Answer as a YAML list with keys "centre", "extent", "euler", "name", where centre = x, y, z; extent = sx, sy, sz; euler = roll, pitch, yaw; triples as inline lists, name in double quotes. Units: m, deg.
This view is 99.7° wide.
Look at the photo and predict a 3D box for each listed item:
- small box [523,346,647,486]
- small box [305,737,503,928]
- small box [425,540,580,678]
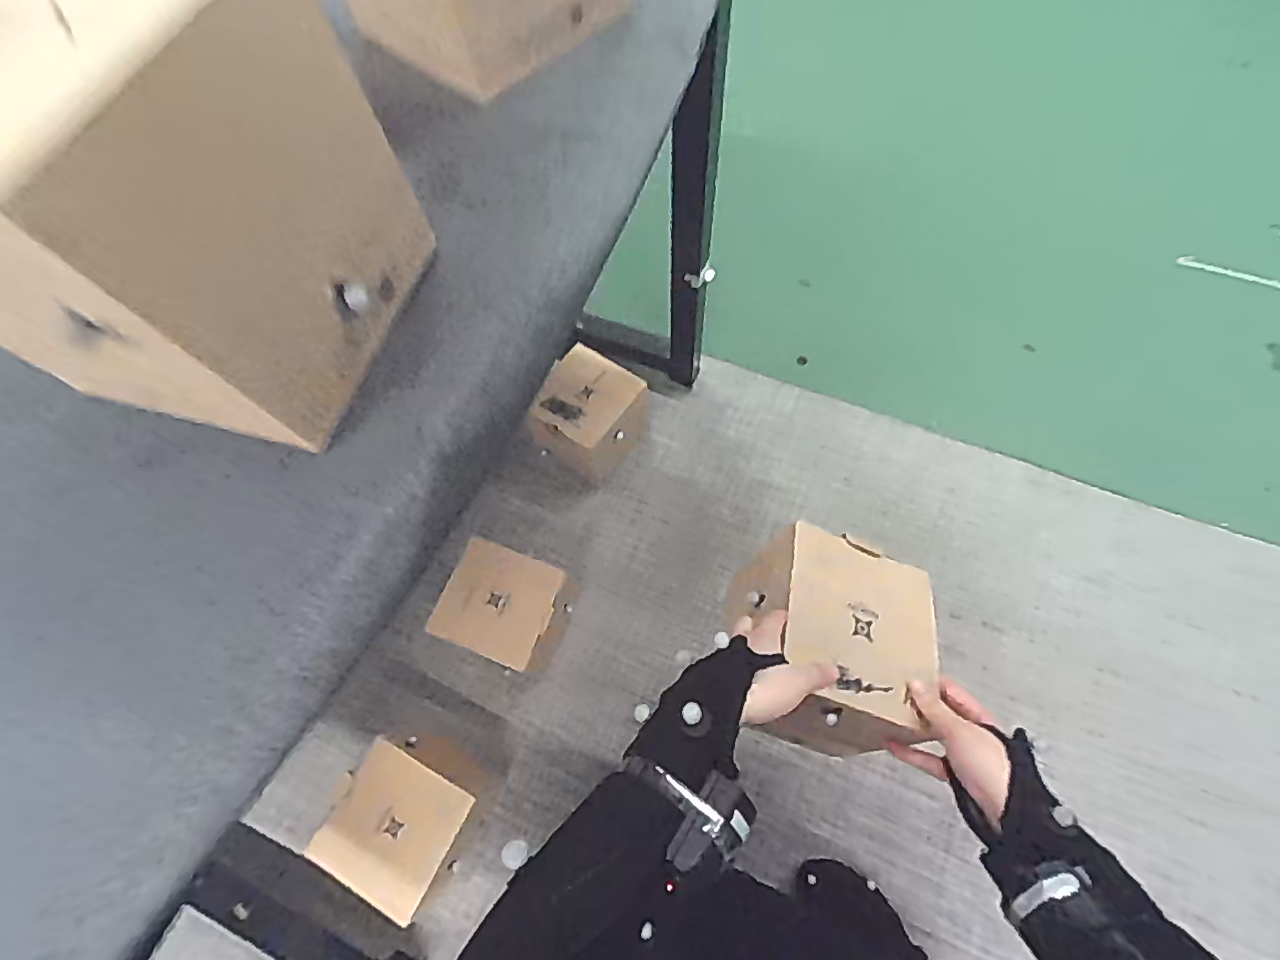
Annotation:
- centre: [-0.096, -0.117, 1.054]
  extent: [0.168, 0.176, 0.179]
  euler: [33, 70, 15]
  name: "small box"
- centre: [-0.332, 0.499, 0.803]
  extent: [0.179, 0.176, 0.168]
  euler: [25, 70, 13]
  name: "small box"
- centre: [-0.217, 0.224, 0.913]
  extent: [0.179, 0.176, 0.168]
  euler: [18, 68, 11]
  name: "small box"
